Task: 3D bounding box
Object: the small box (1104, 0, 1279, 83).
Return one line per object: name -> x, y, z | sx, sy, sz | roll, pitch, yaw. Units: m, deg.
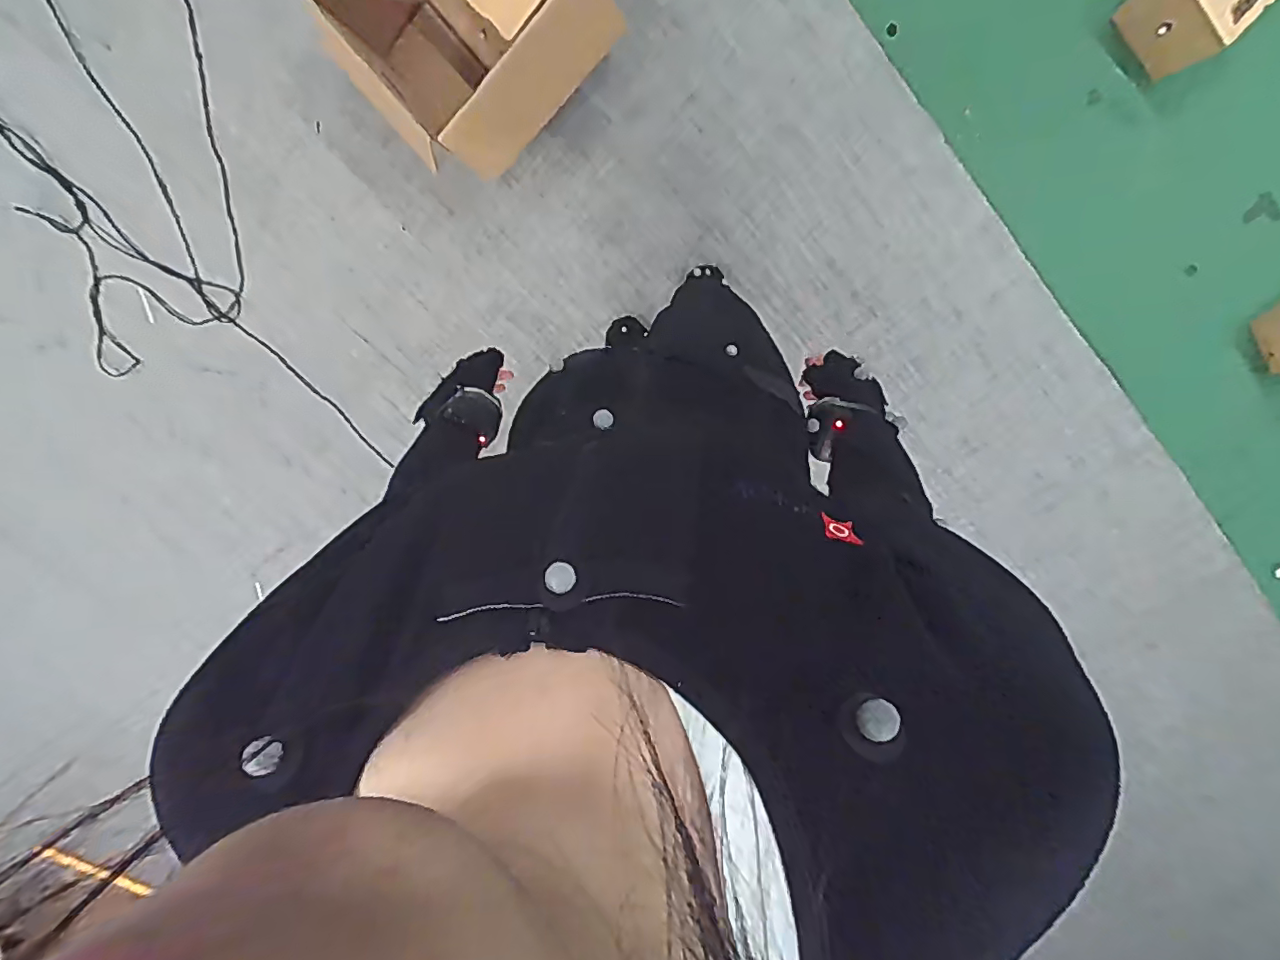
small box -> 1.118, -0.954, 1.096 | 0.179, 0.176, 0.168 | 42, 104, -10
